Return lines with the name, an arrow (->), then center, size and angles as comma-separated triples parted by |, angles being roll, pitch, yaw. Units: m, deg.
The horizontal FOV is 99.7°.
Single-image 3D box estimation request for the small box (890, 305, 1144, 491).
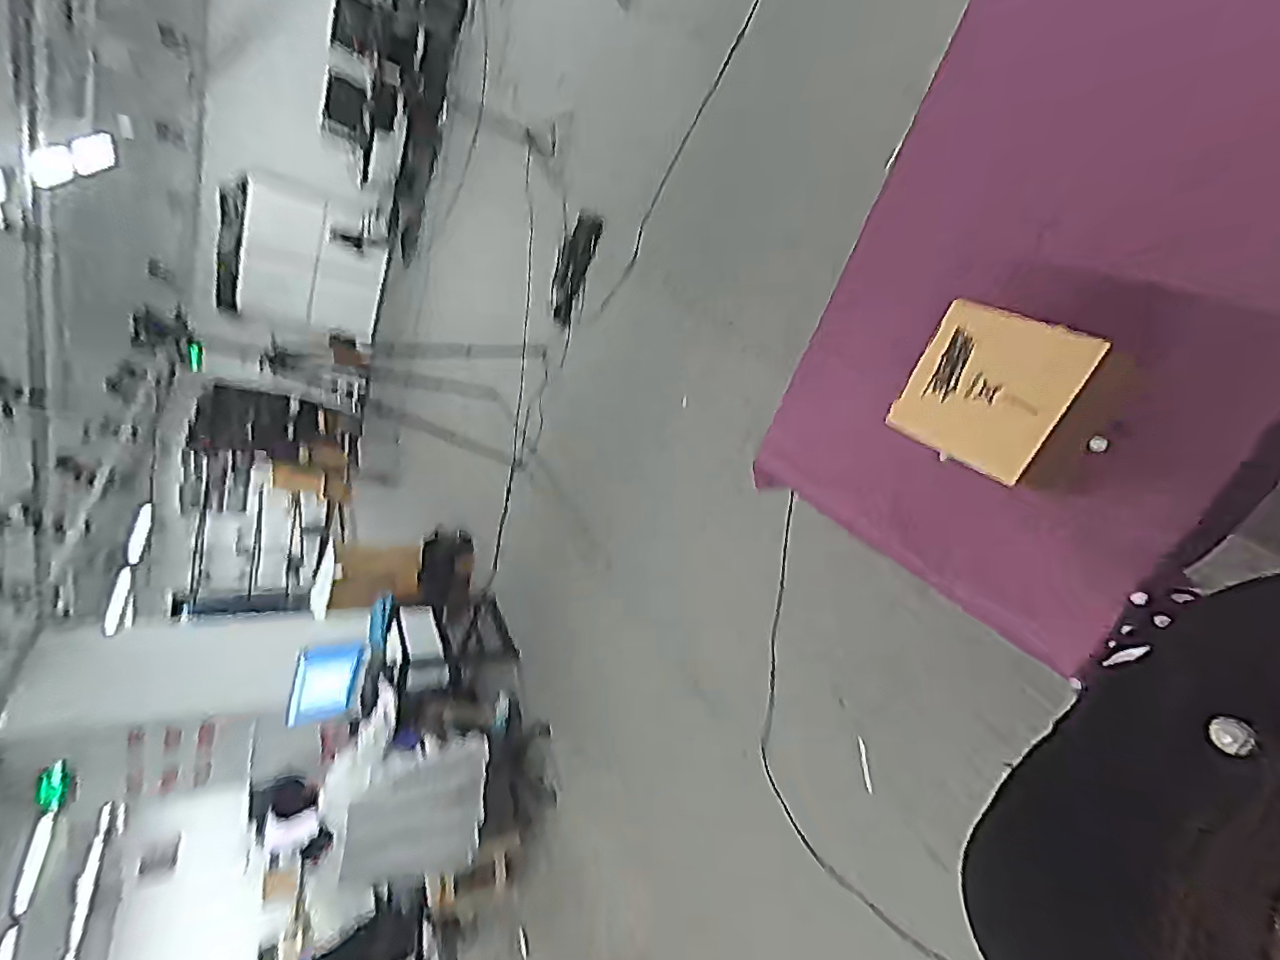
small box -> 0.466, -0.097, 0.678 | 0.179, 0.176, 0.168 | 45, 120, 46
